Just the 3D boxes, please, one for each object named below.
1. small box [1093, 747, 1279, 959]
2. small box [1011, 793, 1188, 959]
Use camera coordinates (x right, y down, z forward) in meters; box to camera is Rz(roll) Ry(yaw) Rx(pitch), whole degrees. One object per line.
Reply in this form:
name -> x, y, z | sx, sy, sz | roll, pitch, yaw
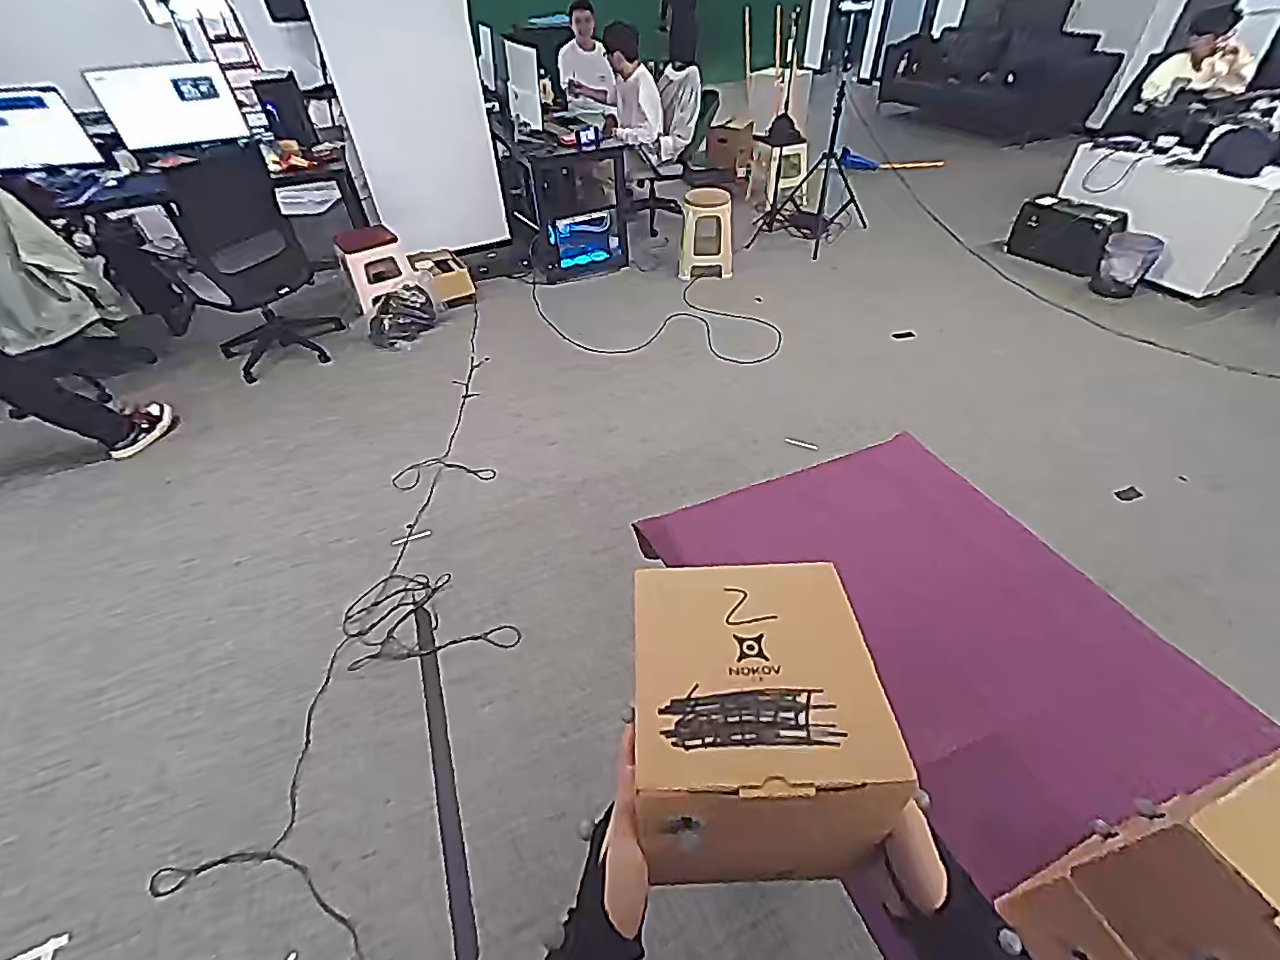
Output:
small box -> 0.508, 0.332, 0.416 | 0.179, 0.176, 0.168 | -16, 45, -14
small box -> 0.509, 0.451, 0.529 | 0.179, 0.176, 0.168 | -17, 45, -15
